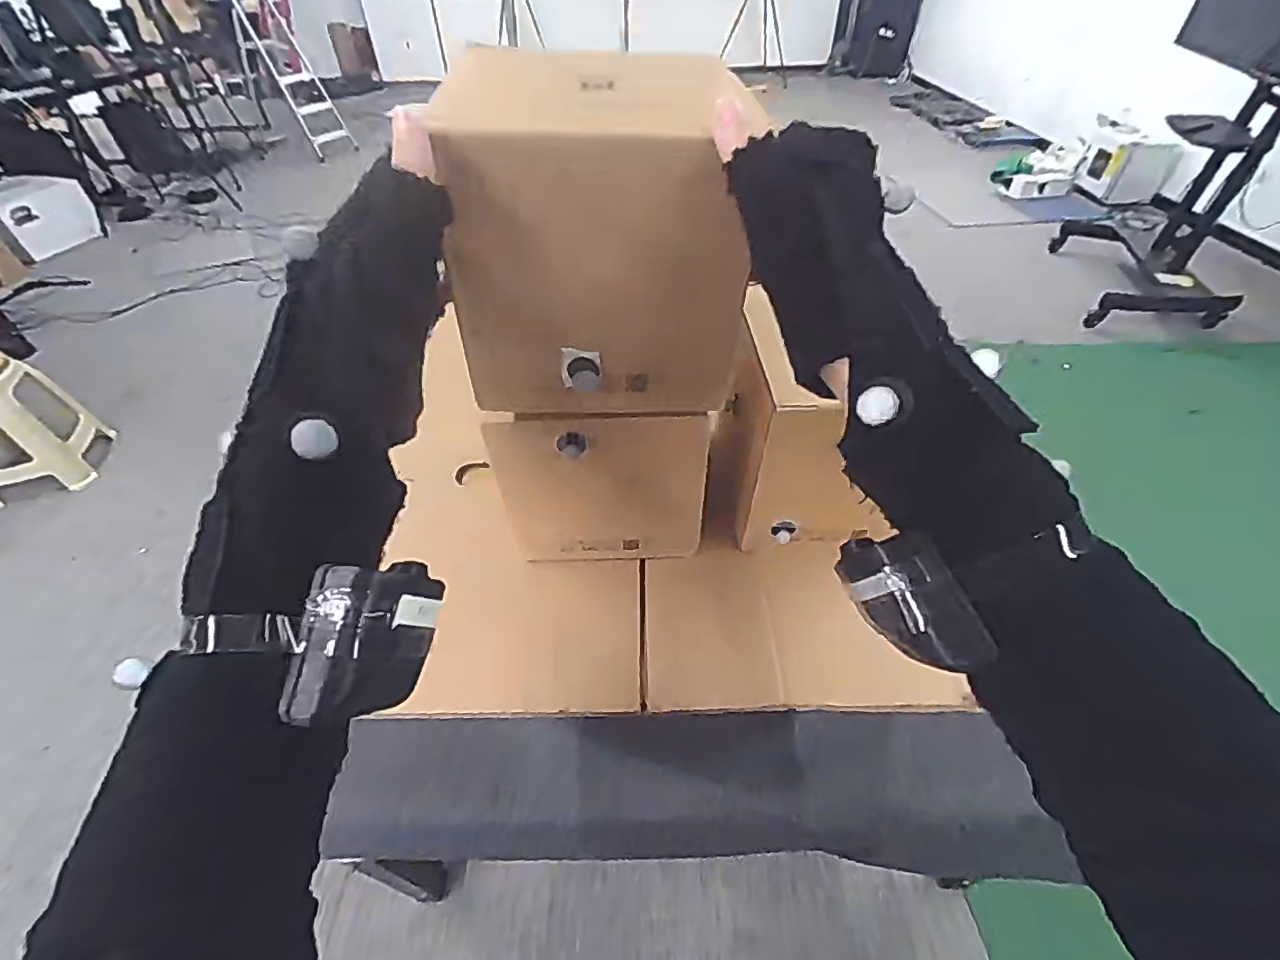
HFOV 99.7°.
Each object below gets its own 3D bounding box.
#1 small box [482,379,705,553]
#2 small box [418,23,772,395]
[{"bbox_3d":[-0.031,-0.051,0.504,0.168,0.176,0.179,-1,45,2],"label":"small box"},{"bbox_3d":[-0.028,-0.177,0.361,0.168,0.176,0.179,-1,48,-5],"label":"small box"}]
